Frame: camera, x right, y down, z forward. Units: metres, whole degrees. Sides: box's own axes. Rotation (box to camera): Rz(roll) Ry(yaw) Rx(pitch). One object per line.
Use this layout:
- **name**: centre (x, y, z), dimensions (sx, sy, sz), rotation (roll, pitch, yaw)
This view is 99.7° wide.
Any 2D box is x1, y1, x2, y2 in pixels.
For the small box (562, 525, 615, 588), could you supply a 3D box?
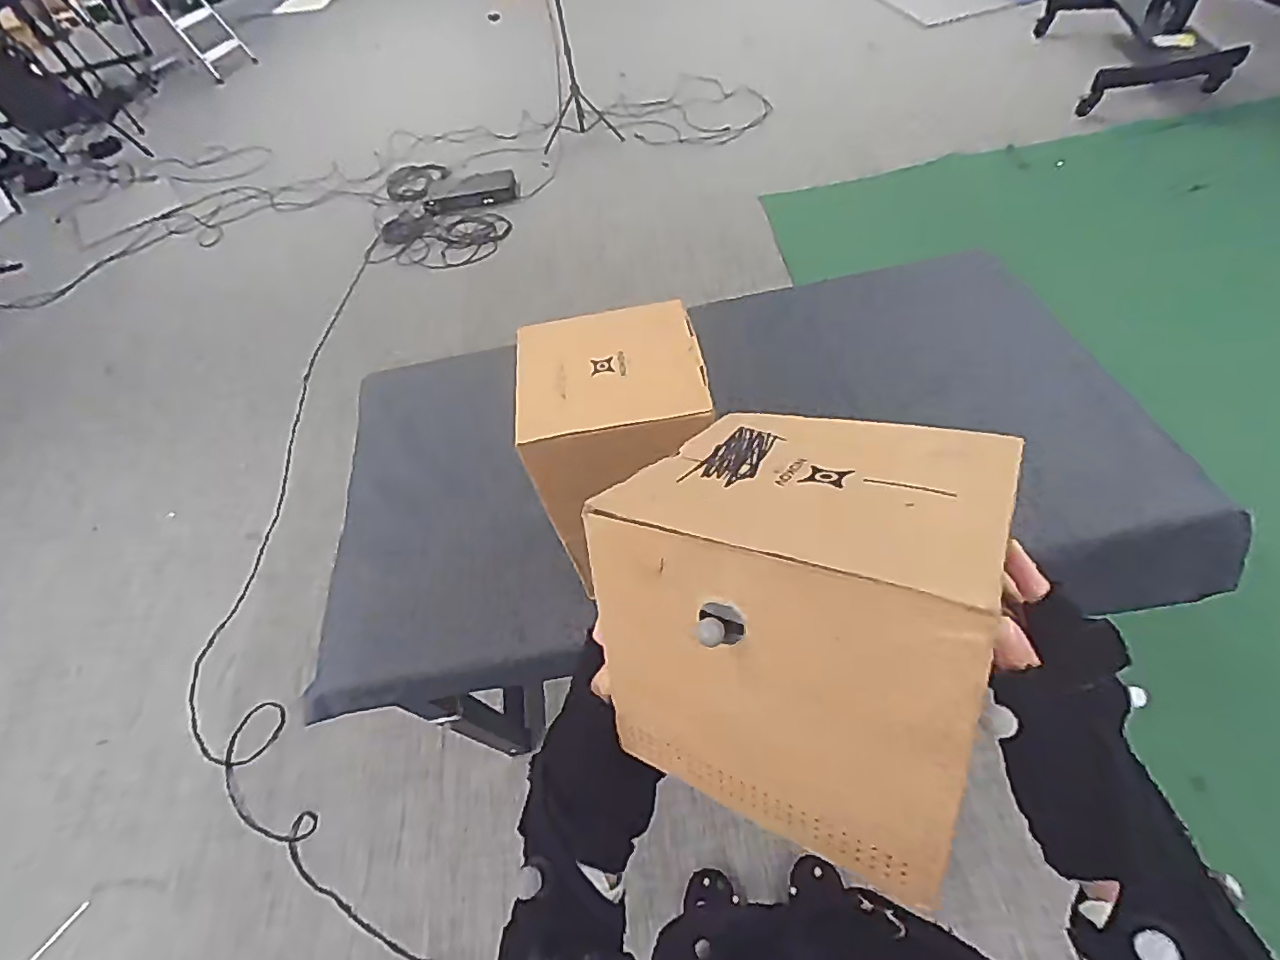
- **small box**: centre (0.002, 0.029, 0.717), dimensions (0.179, 0.176, 0.168), rotation (-10, 54, 2)

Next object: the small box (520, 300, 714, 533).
- **small box**: centre (-0.019, -0.062, 0.584), dimensions (0.179, 0.176, 0.168), rotation (-10, 52, 2)

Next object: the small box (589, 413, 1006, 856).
- **small box**: centre (0.095, 0.068, 0.320), dimensions (0.179, 0.176, 0.168), rotation (11, 29, 34)
